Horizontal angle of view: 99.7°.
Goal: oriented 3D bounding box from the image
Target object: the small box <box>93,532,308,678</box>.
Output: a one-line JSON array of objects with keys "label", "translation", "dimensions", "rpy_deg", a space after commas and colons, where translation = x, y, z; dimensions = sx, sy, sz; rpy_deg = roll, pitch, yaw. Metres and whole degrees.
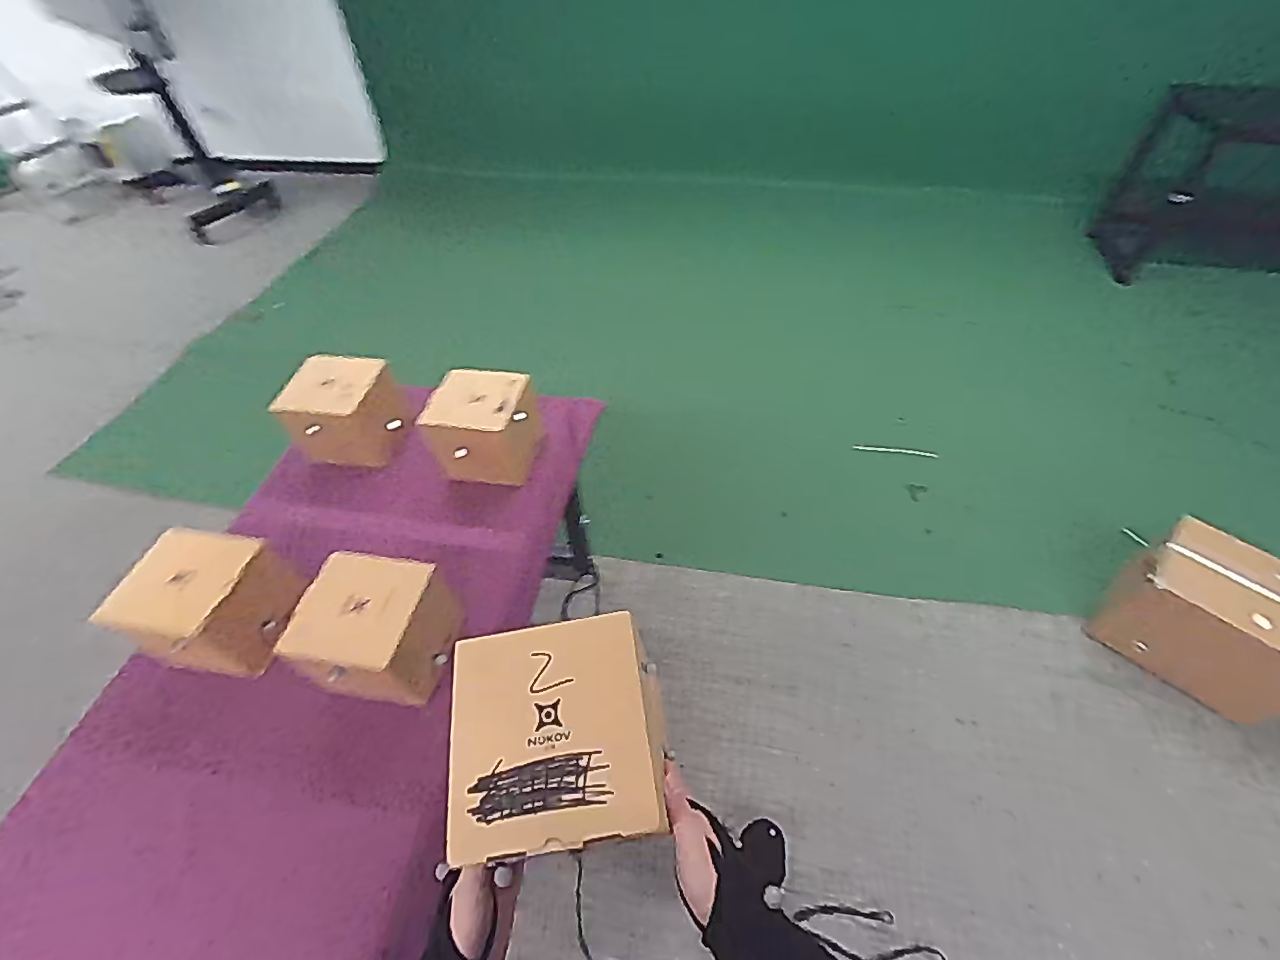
[{"label": "small box", "translation": [-0.699, 0.208, 0.886], "dimensions": [0.179, 0.176, 0.168], "rpy_deg": [6, 50, 6]}]

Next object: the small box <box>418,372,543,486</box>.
[{"label": "small box", "translation": [-0.320, -0.104, 1.129], "dimensions": [0.179, 0.176, 0.168], "rpy_deg": [6, 52, 10]}]

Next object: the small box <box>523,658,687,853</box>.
[{"label": "small box", "translation": [-0.037, 0.334, 0.654], "dimensions": [0.168, 0.176, 0.179], "rpy_deg": [-9, 56, 1]}]

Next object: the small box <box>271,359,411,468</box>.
[{"label": "small box", "translation": [-0.635, -0.141, 1.171], "dimensions": [0.179, 0.176, 0.168], "rpy_deg": [5, 53, 6]}]
